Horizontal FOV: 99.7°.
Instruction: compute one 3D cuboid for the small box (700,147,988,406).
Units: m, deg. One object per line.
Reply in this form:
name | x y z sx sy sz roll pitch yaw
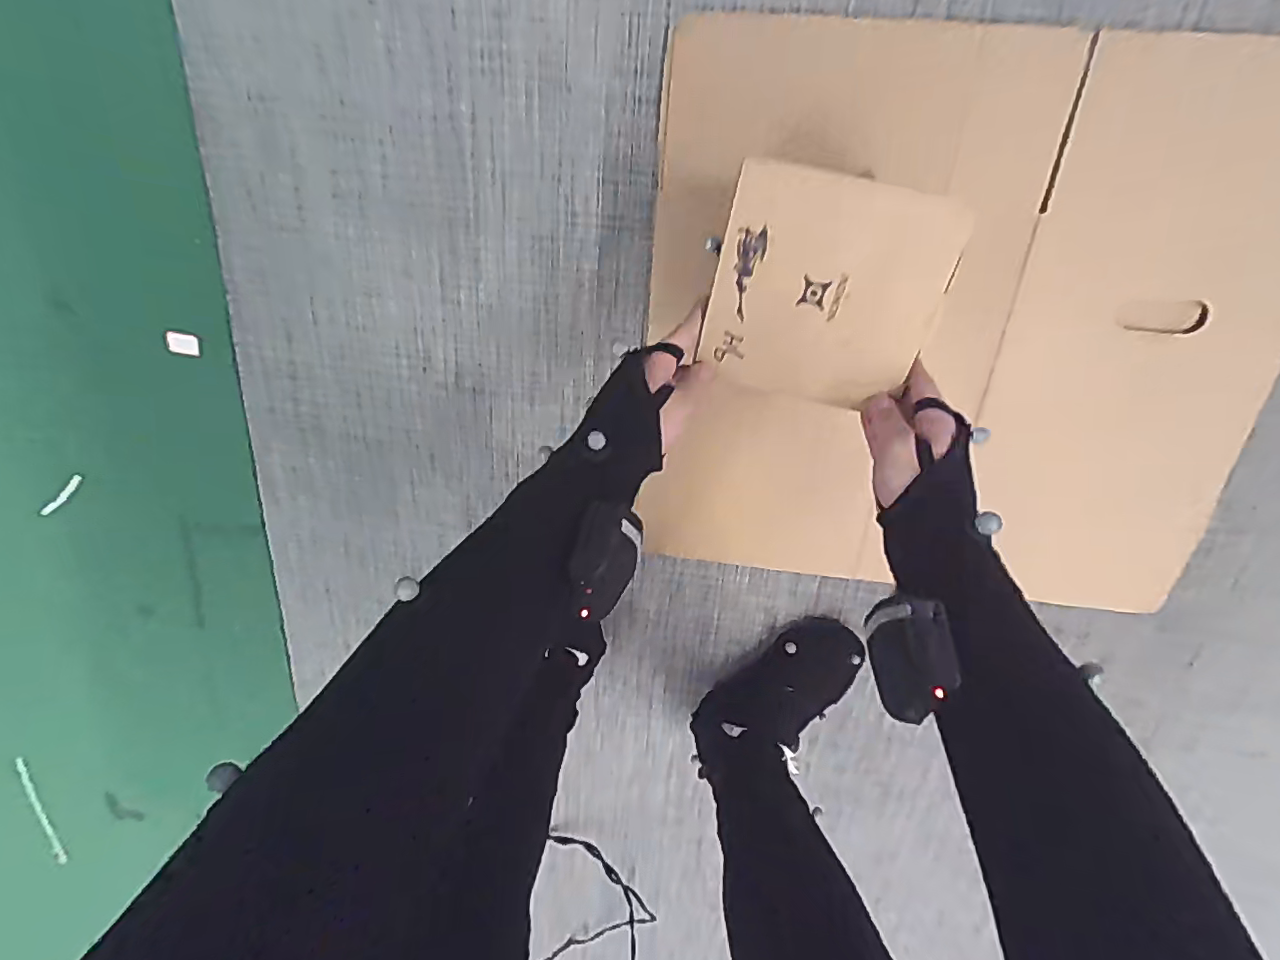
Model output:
small box | 0.159 -0.186 0.492 0.179 0.176 0.168 13 117 1
